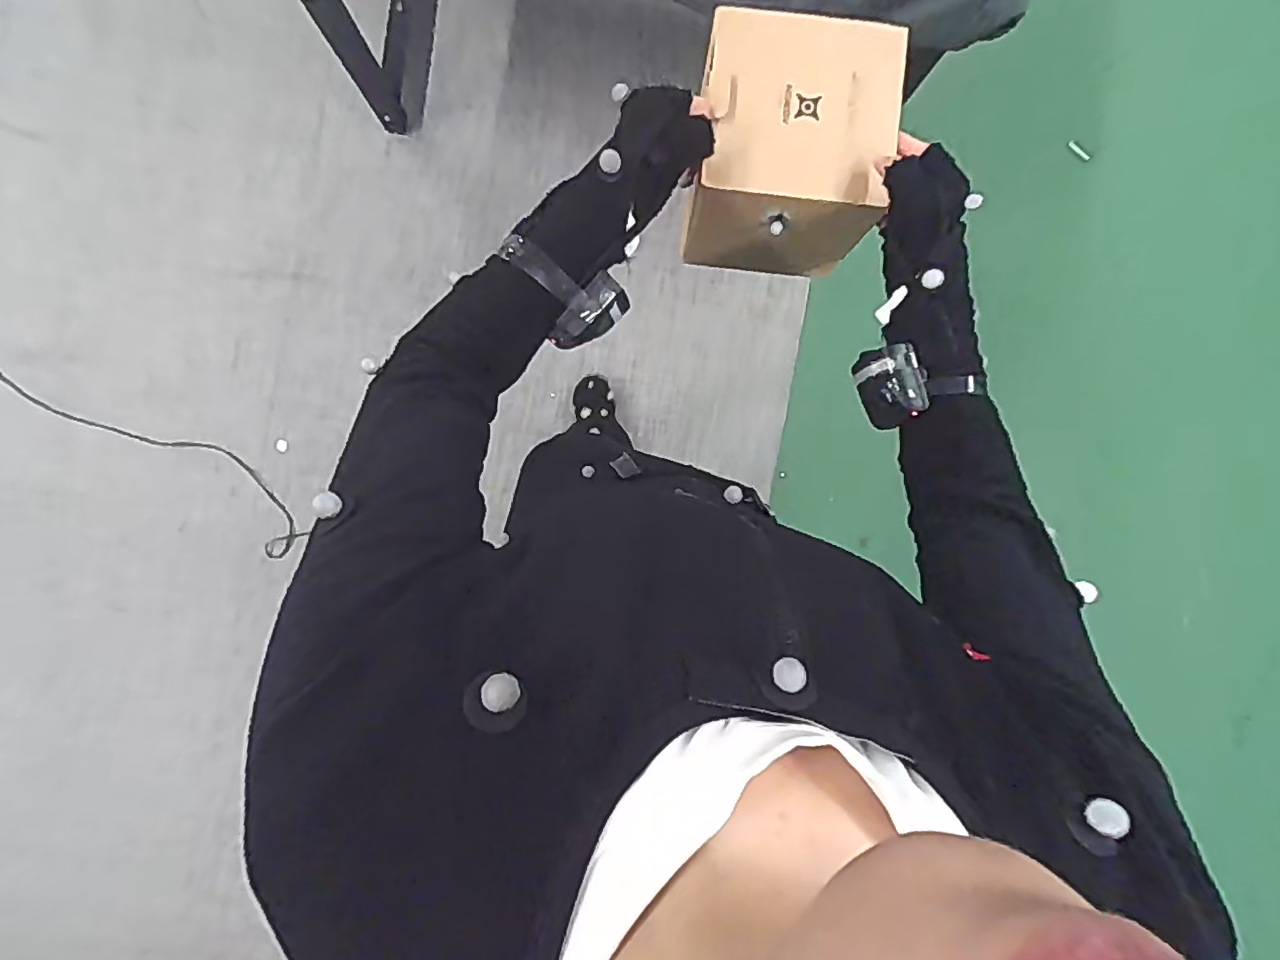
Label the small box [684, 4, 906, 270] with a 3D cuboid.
[{"bbox_3d":[0.145,-0.337,0.565,0.179,0.176,0.168,5,90,-3],"label":"small box"}]
